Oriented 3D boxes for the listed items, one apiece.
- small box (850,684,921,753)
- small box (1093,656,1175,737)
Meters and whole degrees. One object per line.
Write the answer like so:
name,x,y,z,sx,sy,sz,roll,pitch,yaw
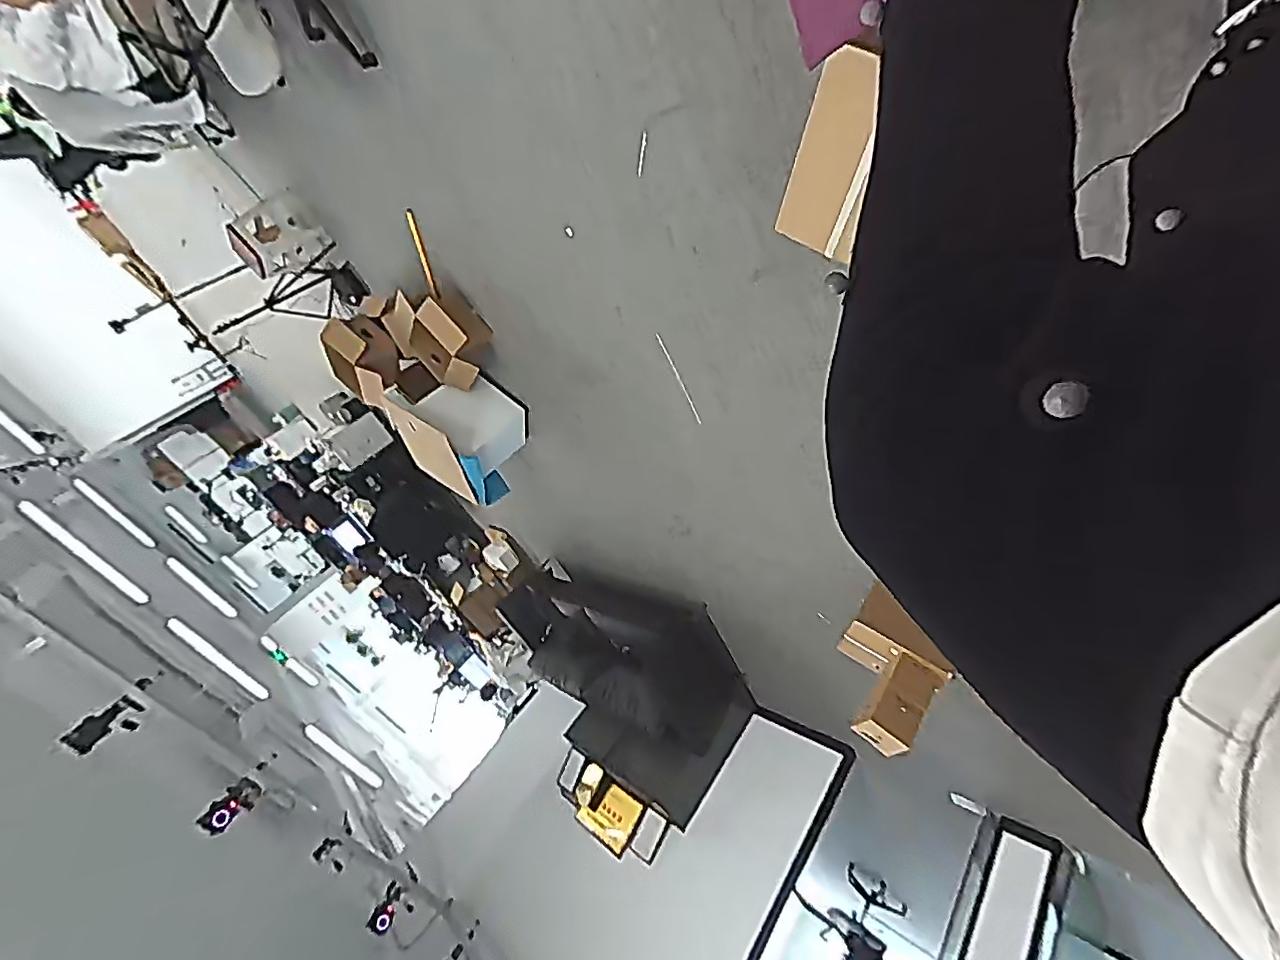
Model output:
small box,0.967,0.934,2.122,0.168,0.176,0.179,36,148,16
small box,1.672,0.723,1.828,0.179,0.176,0.168,1,129,51
